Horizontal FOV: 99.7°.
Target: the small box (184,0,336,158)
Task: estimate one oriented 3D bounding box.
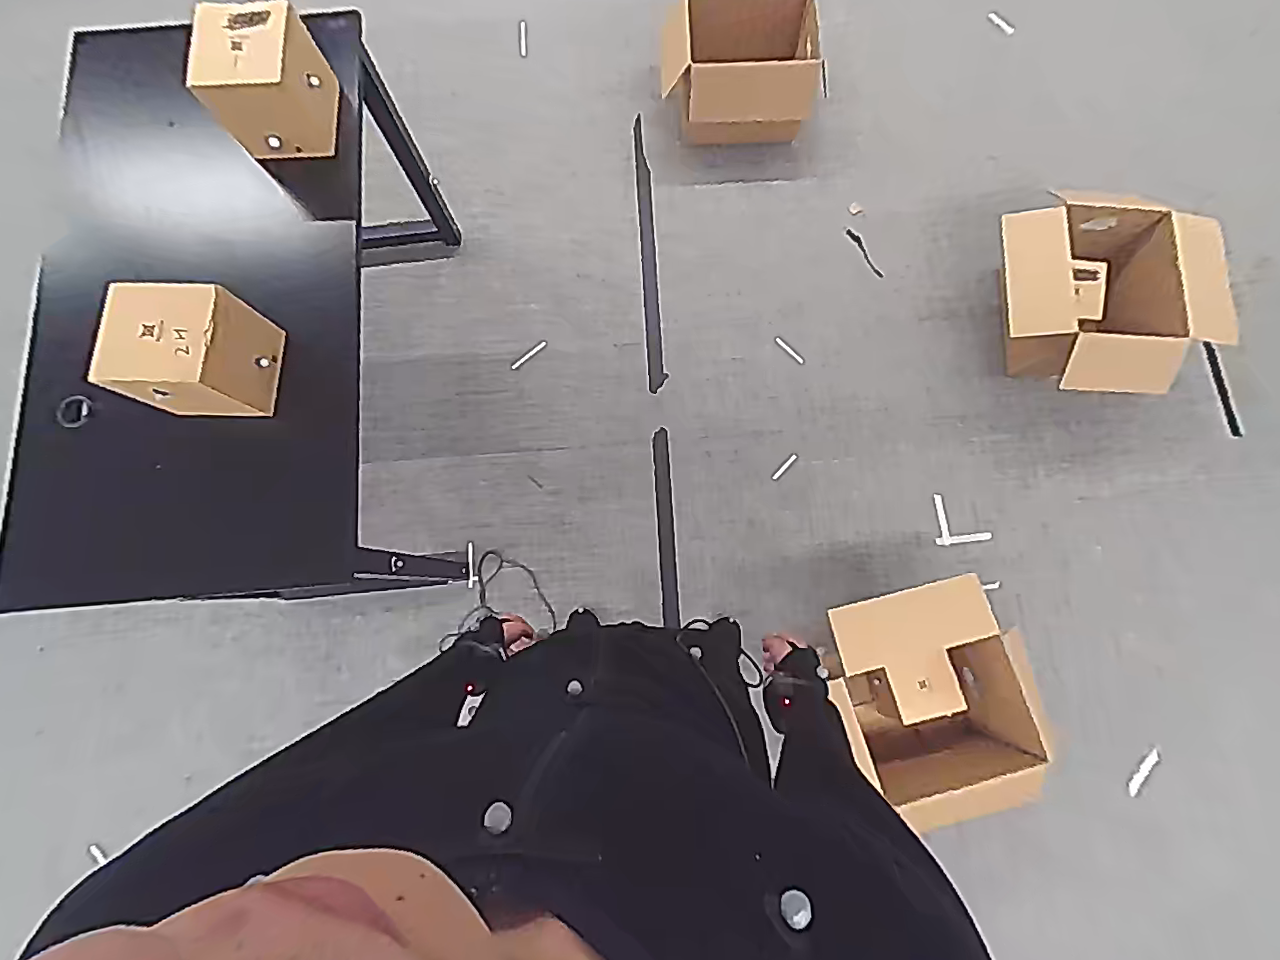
[{"bbox_3d":[-0.696,-0.743,1.012,0.168,0.176,0.179,-3,80,1],"label":"small box"}]

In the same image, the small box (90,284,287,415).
[{"bbox_3d":[-0.745,-0.211,0.911,0.179,0.176,0.168,1,80,1],"label":"small box"}]
